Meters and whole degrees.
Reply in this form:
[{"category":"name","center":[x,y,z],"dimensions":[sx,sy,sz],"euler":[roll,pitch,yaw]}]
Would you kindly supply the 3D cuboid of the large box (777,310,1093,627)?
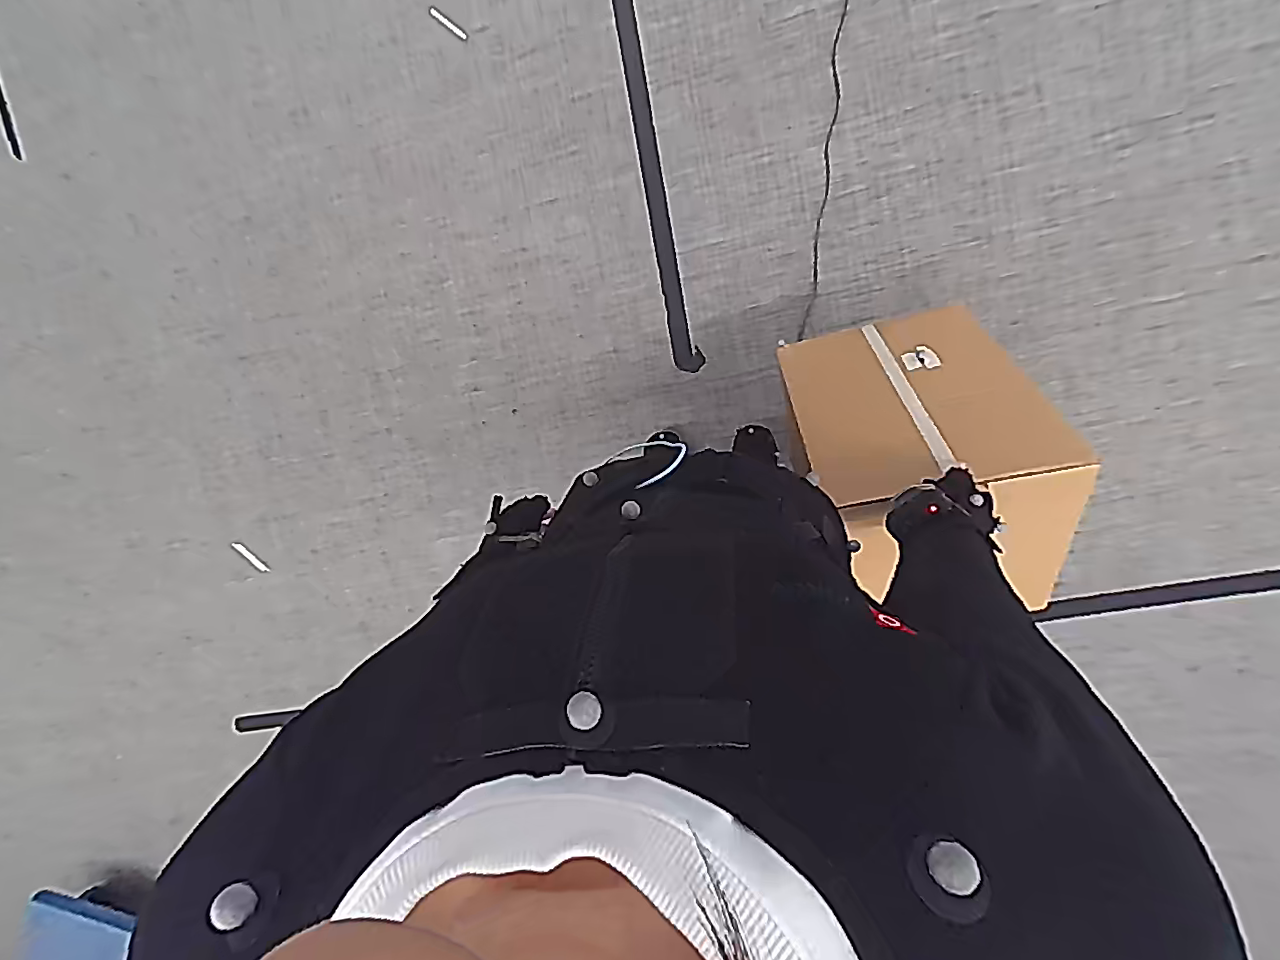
[{"category":"large box","center":[0.438,-0.023,0.909],"dimensions":[0.320,0.408,0.320],"euler":[-11,131,11]}]
